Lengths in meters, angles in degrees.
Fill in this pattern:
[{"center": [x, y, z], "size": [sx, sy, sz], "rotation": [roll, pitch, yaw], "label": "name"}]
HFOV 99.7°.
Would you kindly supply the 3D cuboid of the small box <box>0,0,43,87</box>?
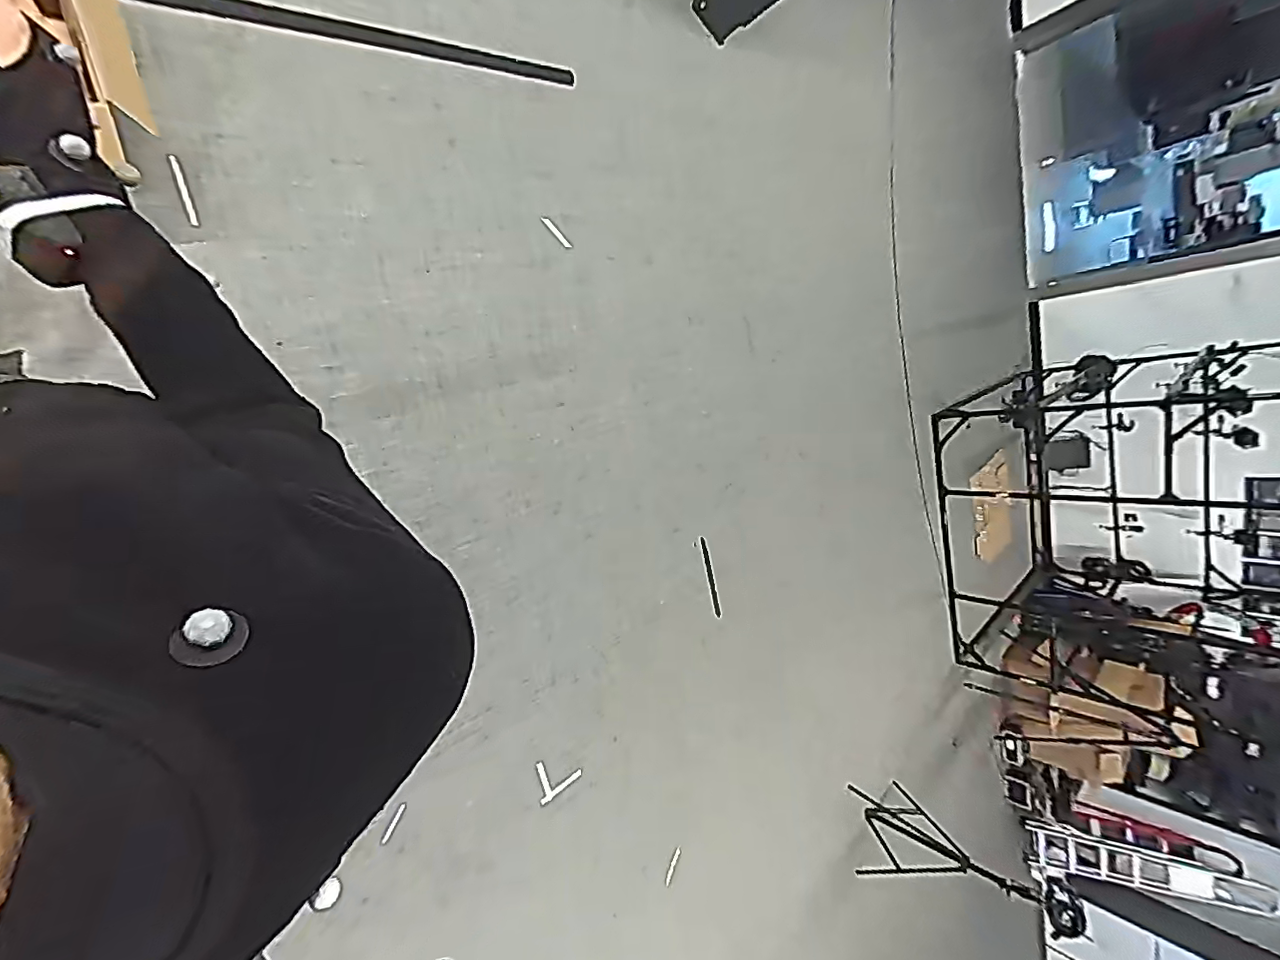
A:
[{"center": [-0.568, -0.403, 0.362], "size": [0.168, 0.176, 0.179], "rotation": [-20, 114, -32], "label": "small box"}]
